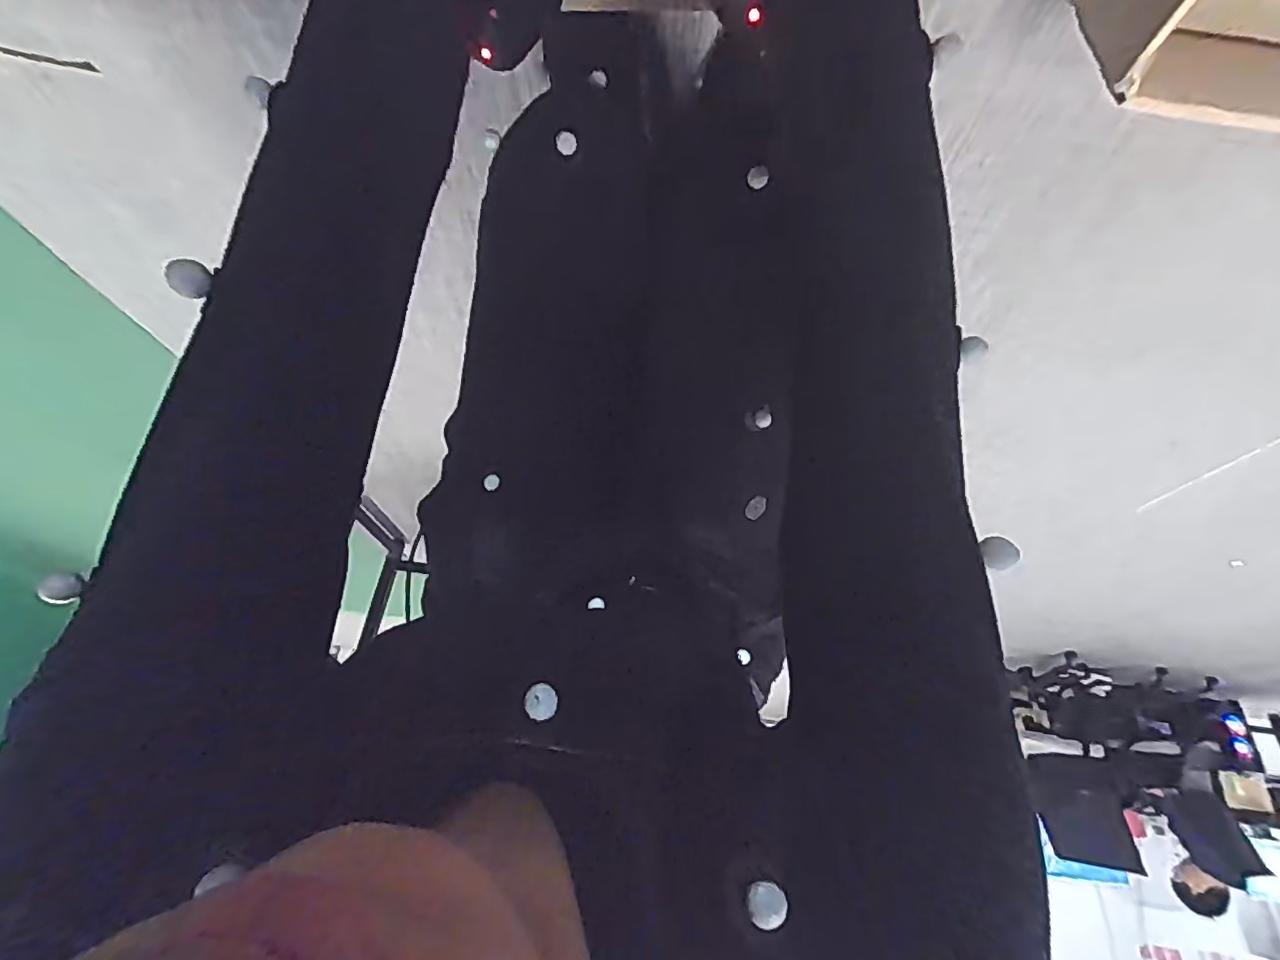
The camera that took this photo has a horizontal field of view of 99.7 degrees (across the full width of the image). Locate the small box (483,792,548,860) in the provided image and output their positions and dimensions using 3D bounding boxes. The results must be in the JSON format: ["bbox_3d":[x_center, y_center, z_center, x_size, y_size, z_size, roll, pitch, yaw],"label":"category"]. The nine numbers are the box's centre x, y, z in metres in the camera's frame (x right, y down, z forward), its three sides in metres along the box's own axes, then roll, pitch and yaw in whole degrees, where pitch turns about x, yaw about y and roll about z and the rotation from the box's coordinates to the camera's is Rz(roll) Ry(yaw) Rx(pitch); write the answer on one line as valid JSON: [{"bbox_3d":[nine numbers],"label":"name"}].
[{"bbox_3d":[-0.415,1.165,1.830,0.179,0.176,0.168,8,153,-3],"label":"small box"}]
